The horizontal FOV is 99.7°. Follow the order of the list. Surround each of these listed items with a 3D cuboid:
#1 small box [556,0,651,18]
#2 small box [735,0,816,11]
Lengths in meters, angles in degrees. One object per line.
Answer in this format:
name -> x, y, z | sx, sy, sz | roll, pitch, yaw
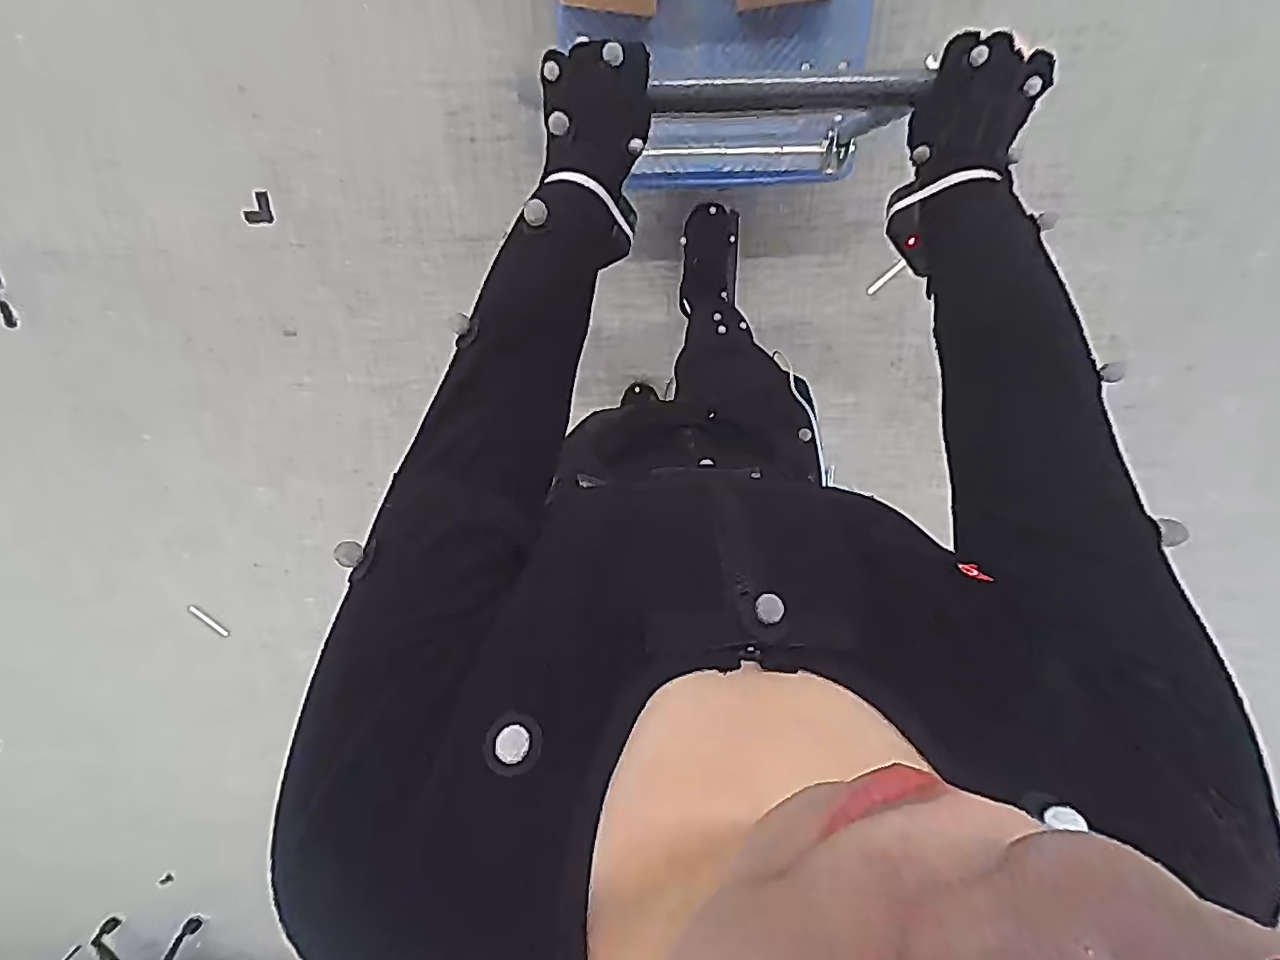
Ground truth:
small box -> -0.061, -0.895, 0.883 | 0.179, 0.176, 0.168 | 5, 111, -3
small box -> 0.244, -0.900, 0.872 | 0.179, 0.176, 0.168 | -6, 112, 4
